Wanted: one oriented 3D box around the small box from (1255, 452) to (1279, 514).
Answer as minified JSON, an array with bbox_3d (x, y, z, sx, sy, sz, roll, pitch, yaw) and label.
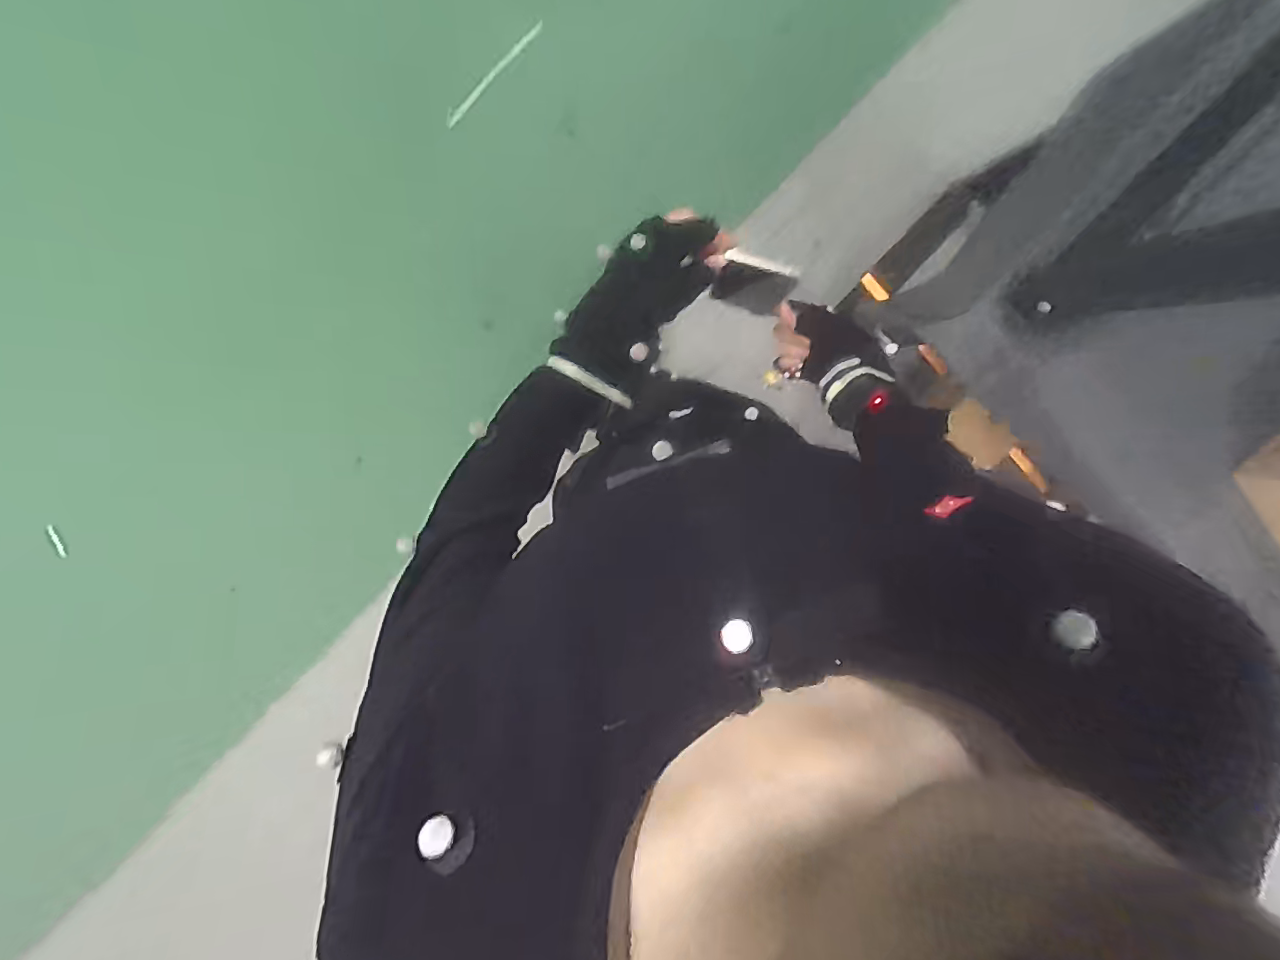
[{"bbox_3d":[0.981,0.013,0.696,0.168,0.176,0.179,-43,99,4],"label":"small box"}]
